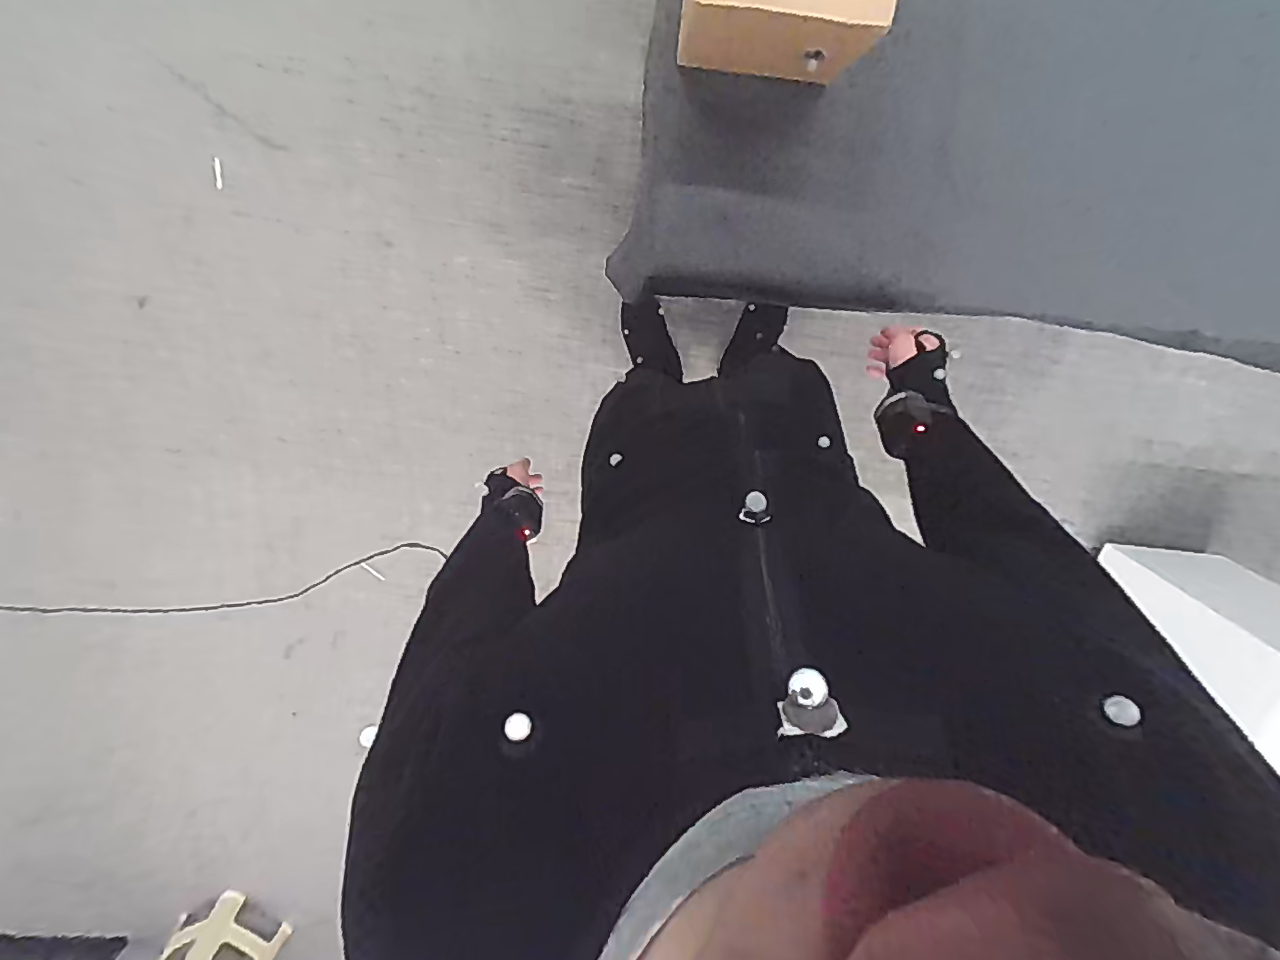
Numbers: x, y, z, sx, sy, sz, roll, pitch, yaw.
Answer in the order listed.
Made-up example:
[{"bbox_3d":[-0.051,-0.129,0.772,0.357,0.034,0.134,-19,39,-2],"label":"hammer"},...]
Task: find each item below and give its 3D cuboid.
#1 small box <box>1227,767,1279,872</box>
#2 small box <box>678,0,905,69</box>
[{"bbox_3d":[1.570,0.816,1.275,0.168,0.176,0.179,7,113,-6],"label":"small box"},{"bbox_3d":[0.138,-0.500,0.488,0.179,0.176,0.168,4,112,-4],"label":"small box"}]
